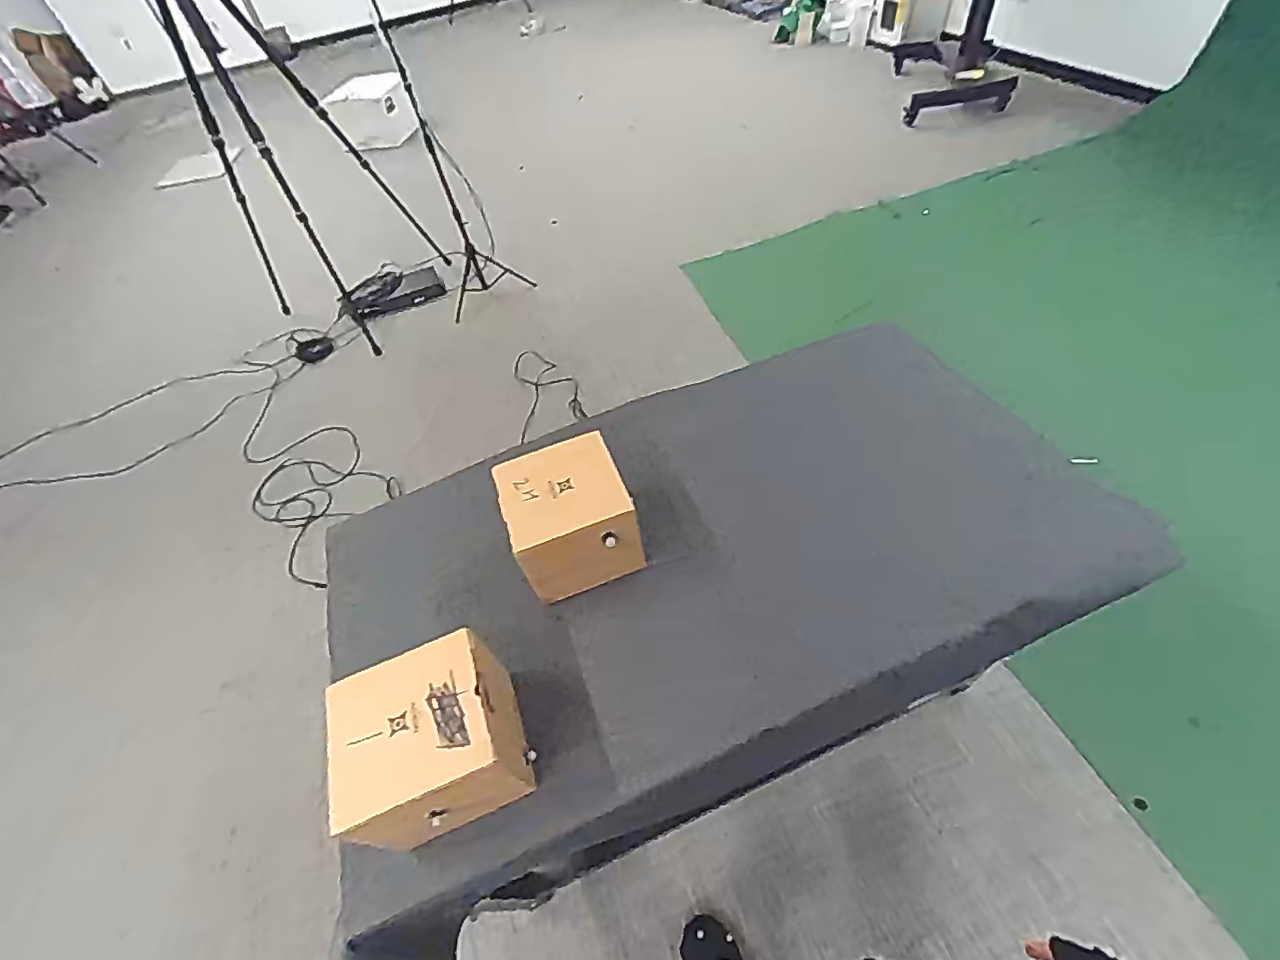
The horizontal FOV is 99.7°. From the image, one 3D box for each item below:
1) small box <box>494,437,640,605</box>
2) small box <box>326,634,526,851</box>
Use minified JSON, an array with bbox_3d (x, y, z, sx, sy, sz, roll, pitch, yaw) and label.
[{"bbox_3d":[-0.106,0.067,0.843,0.179,0.176,0.168,-20,53,-8],"label":"small box"},{"bbox_3d":[-0.251,0.322,0.661,0.179,0.176,0.168,-21,51,-9],"label":"small box"}]
